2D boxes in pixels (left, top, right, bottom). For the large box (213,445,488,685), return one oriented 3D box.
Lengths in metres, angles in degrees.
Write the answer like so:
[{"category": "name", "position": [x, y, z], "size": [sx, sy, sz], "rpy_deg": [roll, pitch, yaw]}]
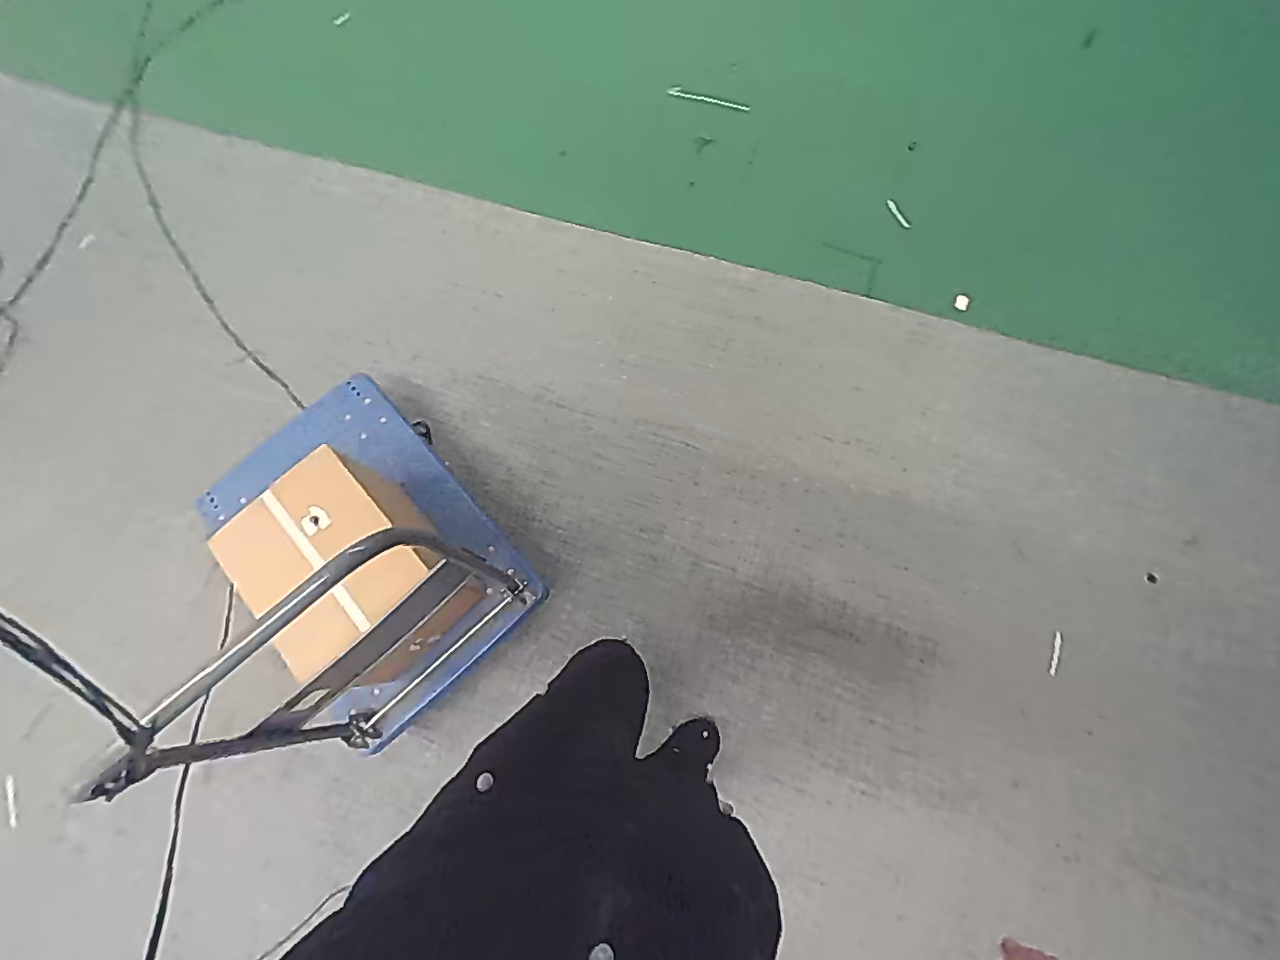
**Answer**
[{"category": "large box", "position": [-0.629, 0.199, 1.232], "size": [0.320, 0.320, 0.408], "rpy_deg": [-43, 74, -9]}]
